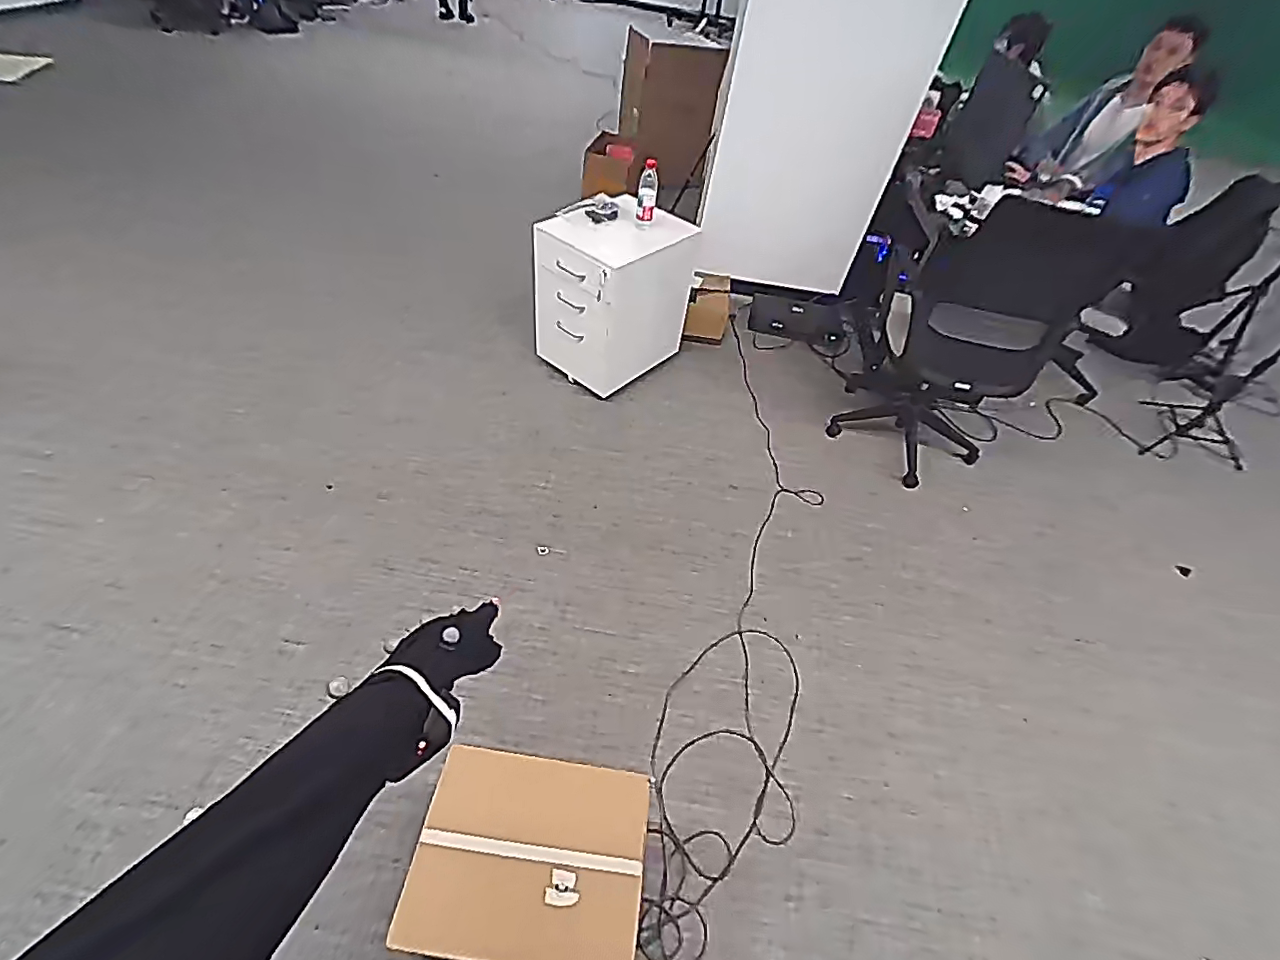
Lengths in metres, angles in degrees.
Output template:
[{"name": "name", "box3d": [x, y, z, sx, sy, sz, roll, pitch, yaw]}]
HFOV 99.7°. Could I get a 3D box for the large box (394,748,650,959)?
[{"name": "large box", "box3d": [-0.209, 0.775, 1.085, 0.408, 0.320, 0.320, 10, 47, 0]}]
